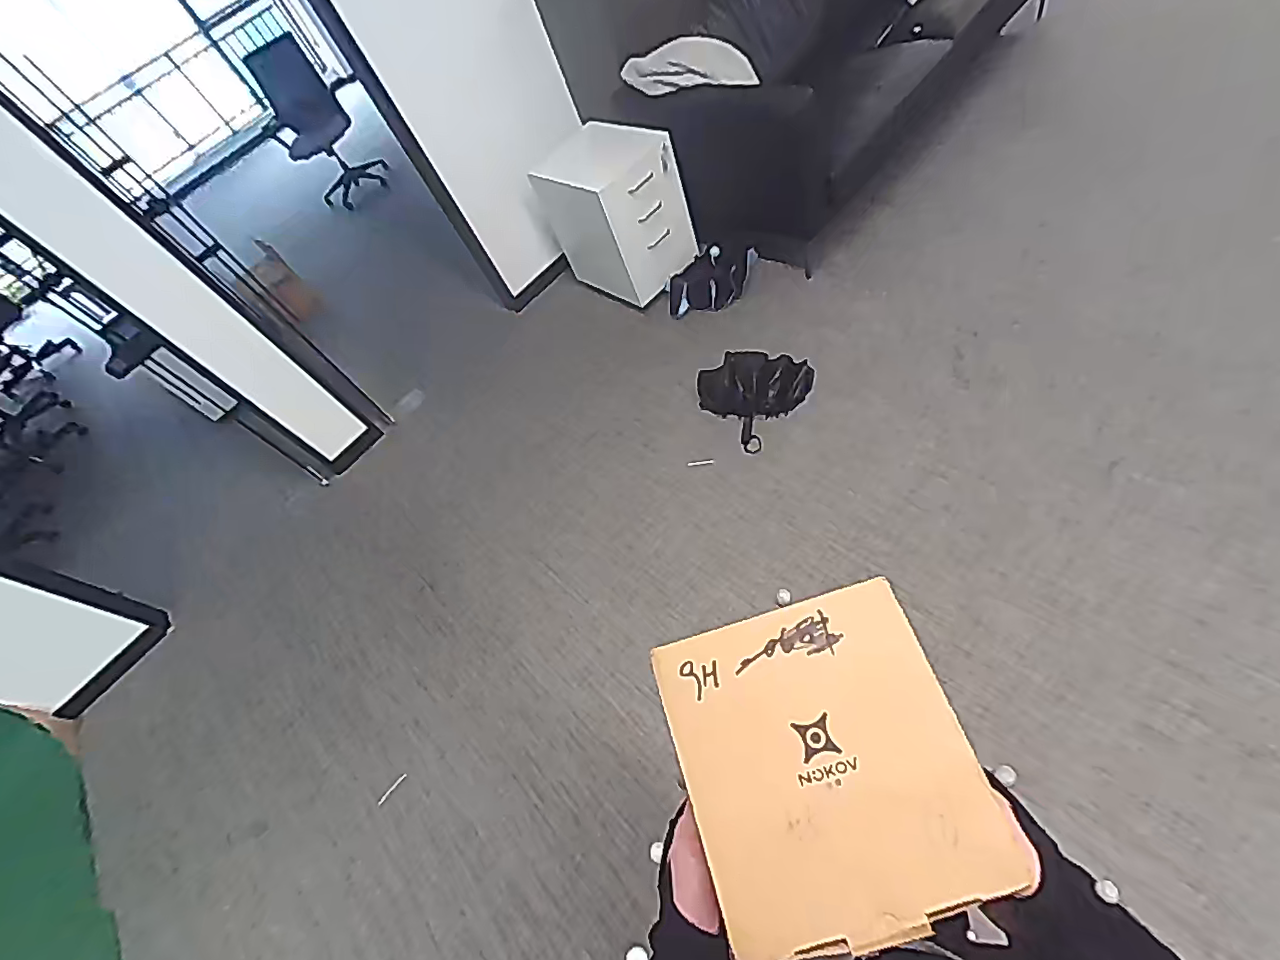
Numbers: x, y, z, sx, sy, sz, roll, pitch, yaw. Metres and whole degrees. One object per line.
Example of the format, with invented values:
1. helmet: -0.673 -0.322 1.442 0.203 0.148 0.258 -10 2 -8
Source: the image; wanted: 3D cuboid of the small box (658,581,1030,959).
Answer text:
1. small box: 0.123 0.194 0.396 0.168 0.176 0.179 -18 66 1
